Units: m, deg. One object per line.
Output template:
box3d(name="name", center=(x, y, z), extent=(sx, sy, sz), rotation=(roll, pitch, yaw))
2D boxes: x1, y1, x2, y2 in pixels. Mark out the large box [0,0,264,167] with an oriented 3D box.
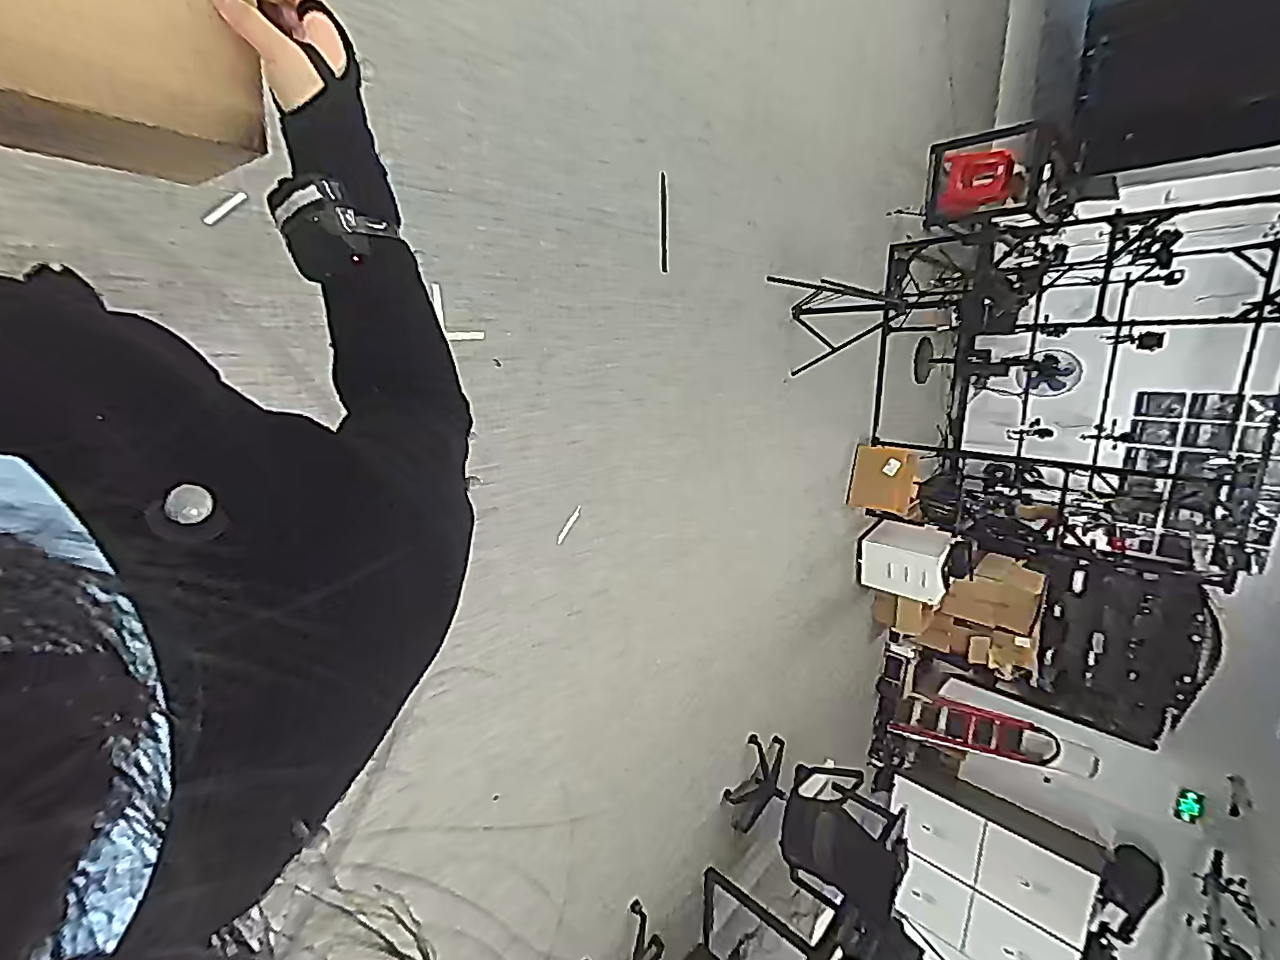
box3d(name="large box", center=(-0.526, -0.429, 0.347), extent=(0.408, 0.320, 0.320), rotation=(-10, 113, -44))
